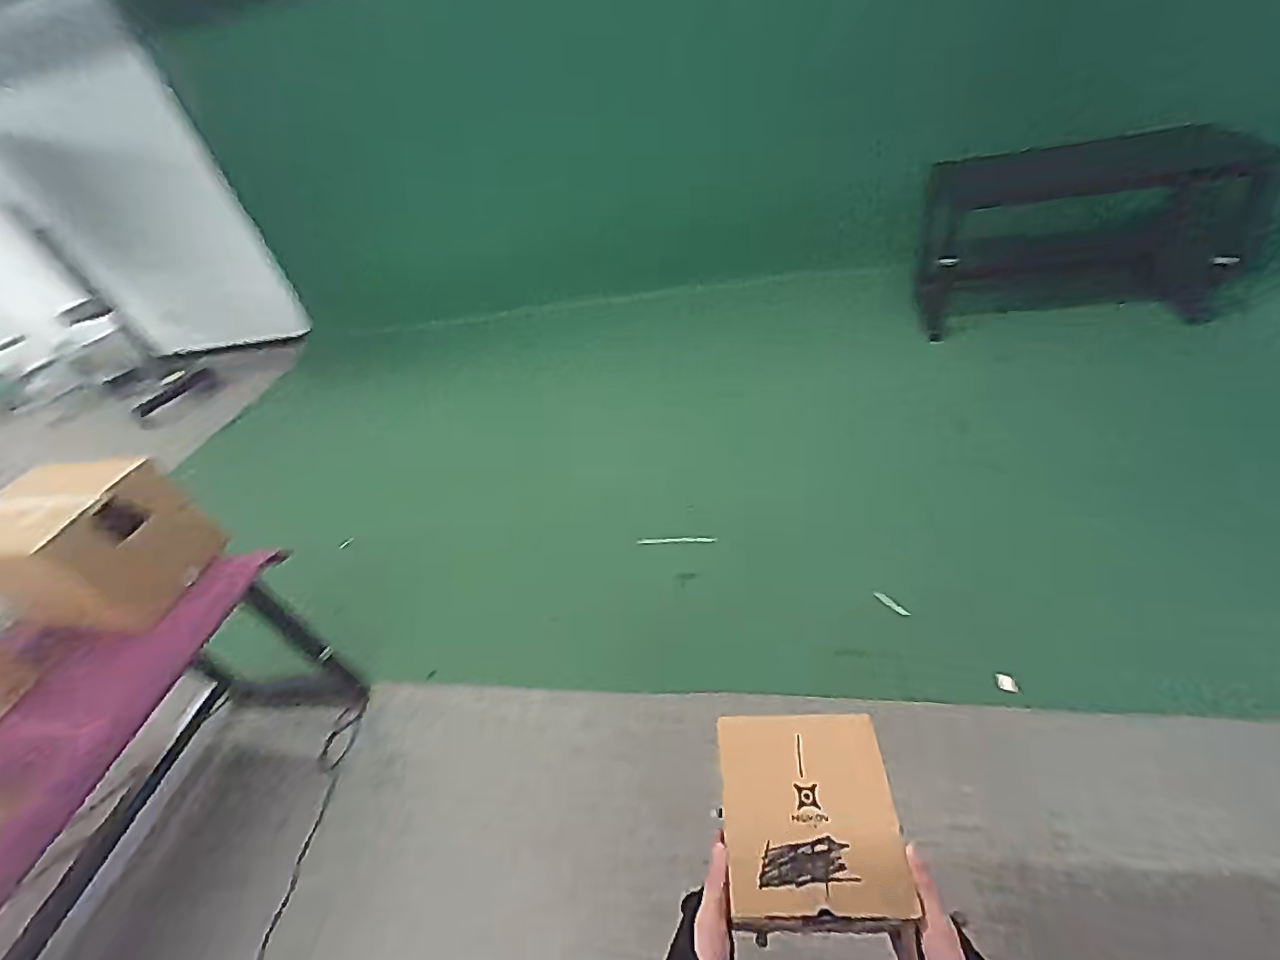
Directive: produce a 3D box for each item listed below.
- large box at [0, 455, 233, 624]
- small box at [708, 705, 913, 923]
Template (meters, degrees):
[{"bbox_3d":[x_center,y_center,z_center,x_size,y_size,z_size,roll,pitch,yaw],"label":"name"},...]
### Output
[{"bbox_3d":[-1.405,0.158,1.395,0.408,0.320,0.320,-2,44,13],"label":"large box"},{"bbox_3d":[0.165,0.364,0.584,0.168,0.176,0.179,-4,47,4],"label":"small box"}]
